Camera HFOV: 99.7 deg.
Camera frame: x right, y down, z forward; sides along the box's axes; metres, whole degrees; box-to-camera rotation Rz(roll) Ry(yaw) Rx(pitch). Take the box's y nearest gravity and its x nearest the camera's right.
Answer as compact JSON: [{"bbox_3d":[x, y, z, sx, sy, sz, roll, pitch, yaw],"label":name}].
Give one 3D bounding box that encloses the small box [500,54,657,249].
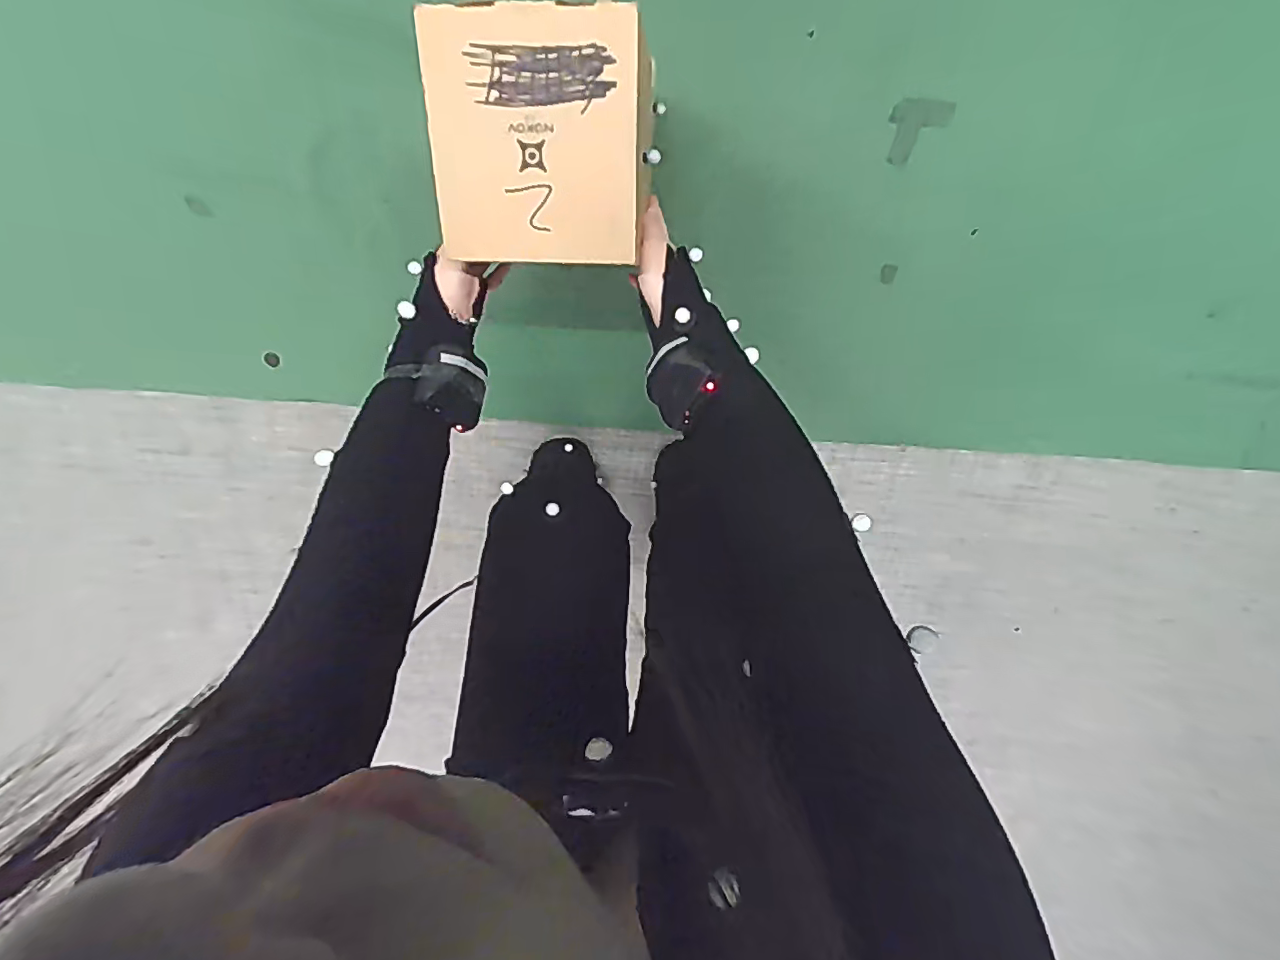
[{"bbox_3d":[-0.067,-0.388,0.666,0.168,0.176,0.179,4,115,-1],"label":"small box"}]
